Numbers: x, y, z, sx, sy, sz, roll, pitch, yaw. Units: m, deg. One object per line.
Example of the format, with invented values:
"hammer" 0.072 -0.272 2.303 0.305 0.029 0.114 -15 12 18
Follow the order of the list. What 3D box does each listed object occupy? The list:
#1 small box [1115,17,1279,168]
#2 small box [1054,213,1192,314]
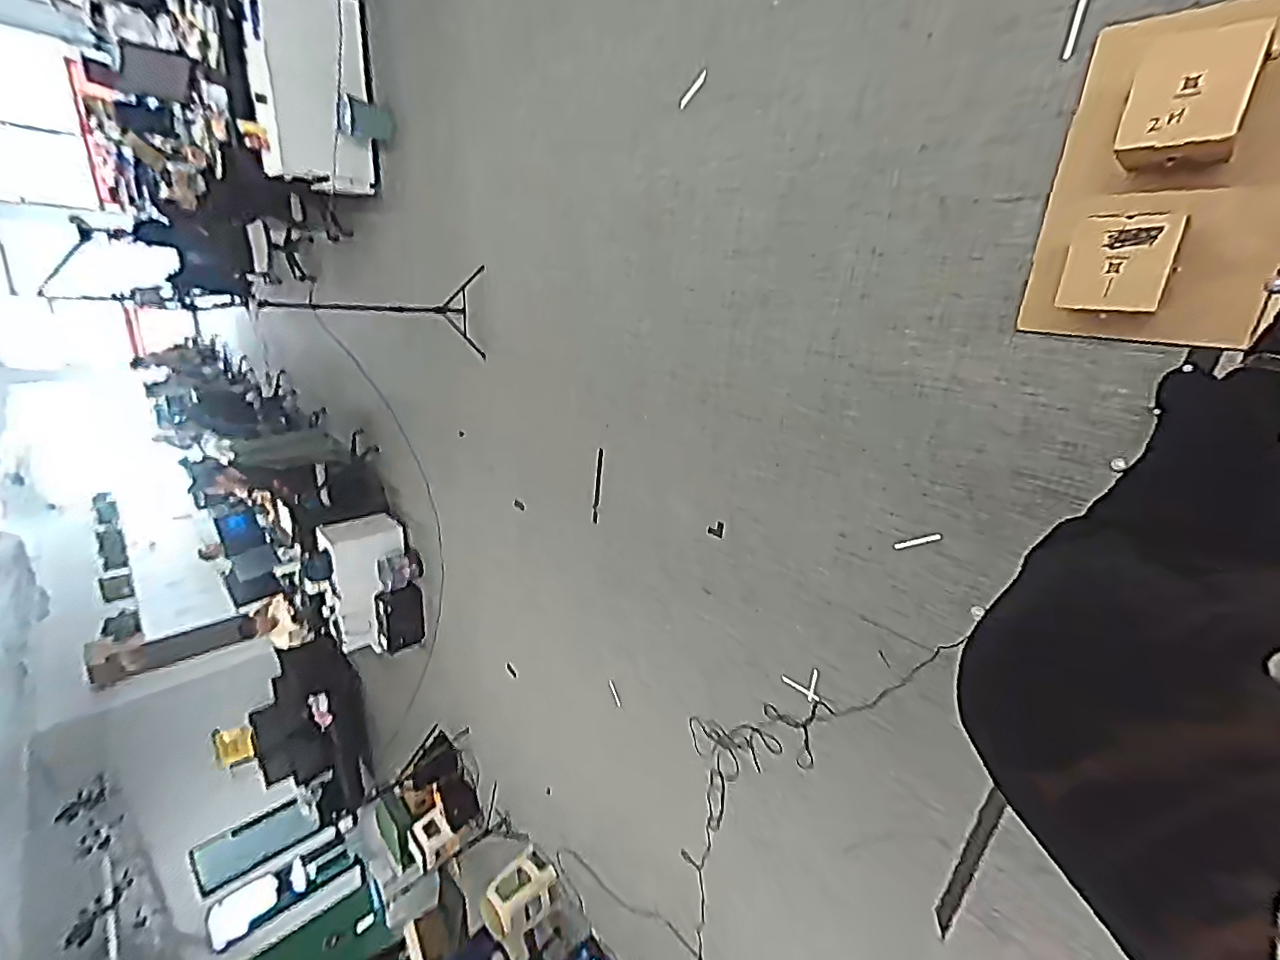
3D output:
"small box" 1.019 -0.698 0.998 0.168 0.176 0.179 23 117 42
"small box" 0.986 -0.436 1.106 0.168 0.176 0.179 22 117 42
